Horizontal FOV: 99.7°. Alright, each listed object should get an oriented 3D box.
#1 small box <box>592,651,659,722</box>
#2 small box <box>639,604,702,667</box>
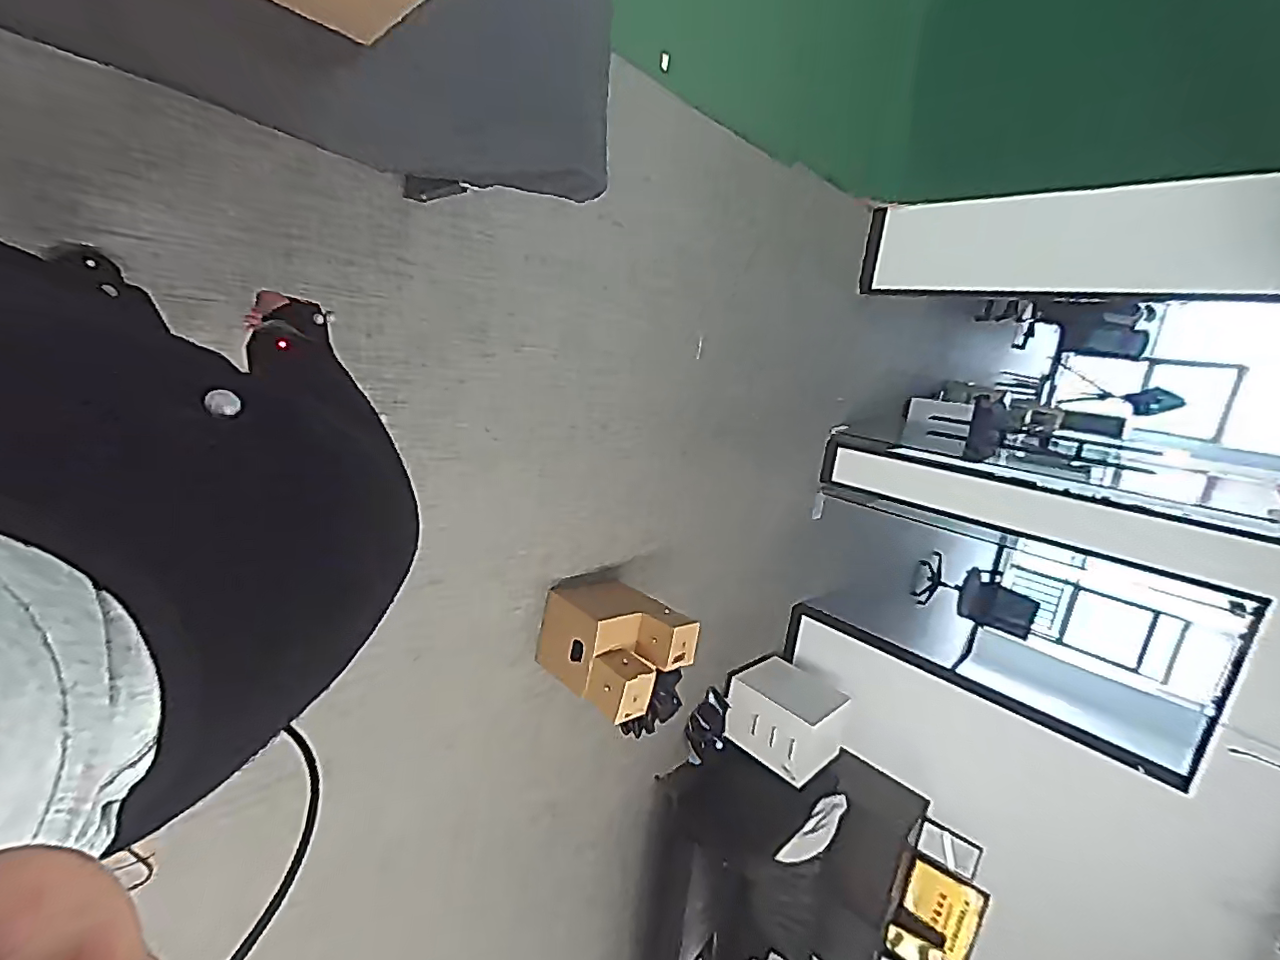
[{"bbox_3d":[-0.057,0.747,1.989,0.168,0.176,0.179,3,102,-49],"label":"small box"},{"bbox_3d":[0.116,0.608,2.129,0.168,0.176,0.179,4,98,-48],"label":"small box"}]
